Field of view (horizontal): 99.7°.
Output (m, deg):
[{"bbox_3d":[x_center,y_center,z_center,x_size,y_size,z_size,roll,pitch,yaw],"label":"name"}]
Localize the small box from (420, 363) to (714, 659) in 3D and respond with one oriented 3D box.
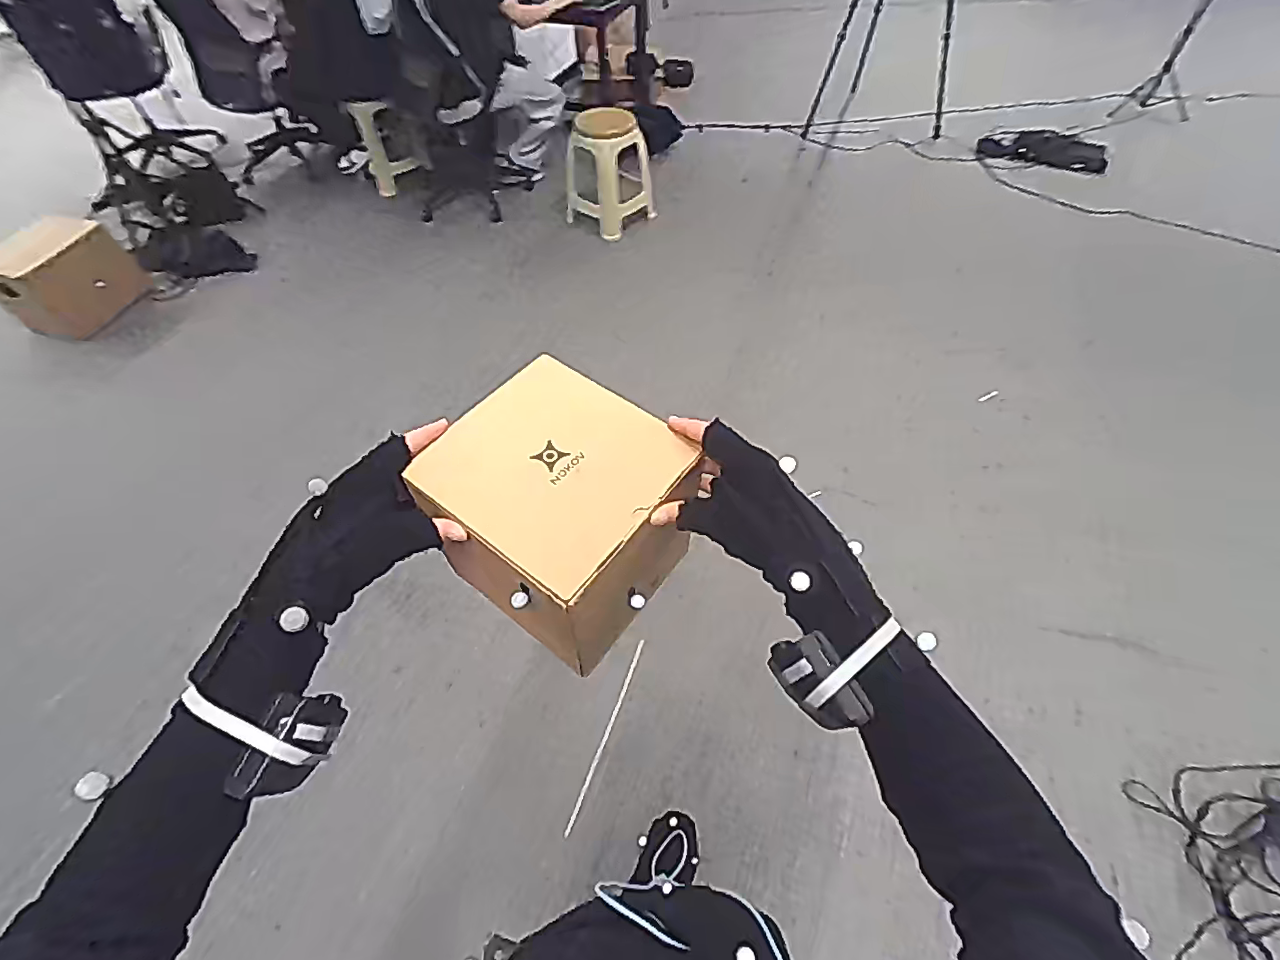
[{"bbox_3d":[-0.059,0.032,0.492,0.179,0.176,0.168,33,60,19],"label":"small box"}]
